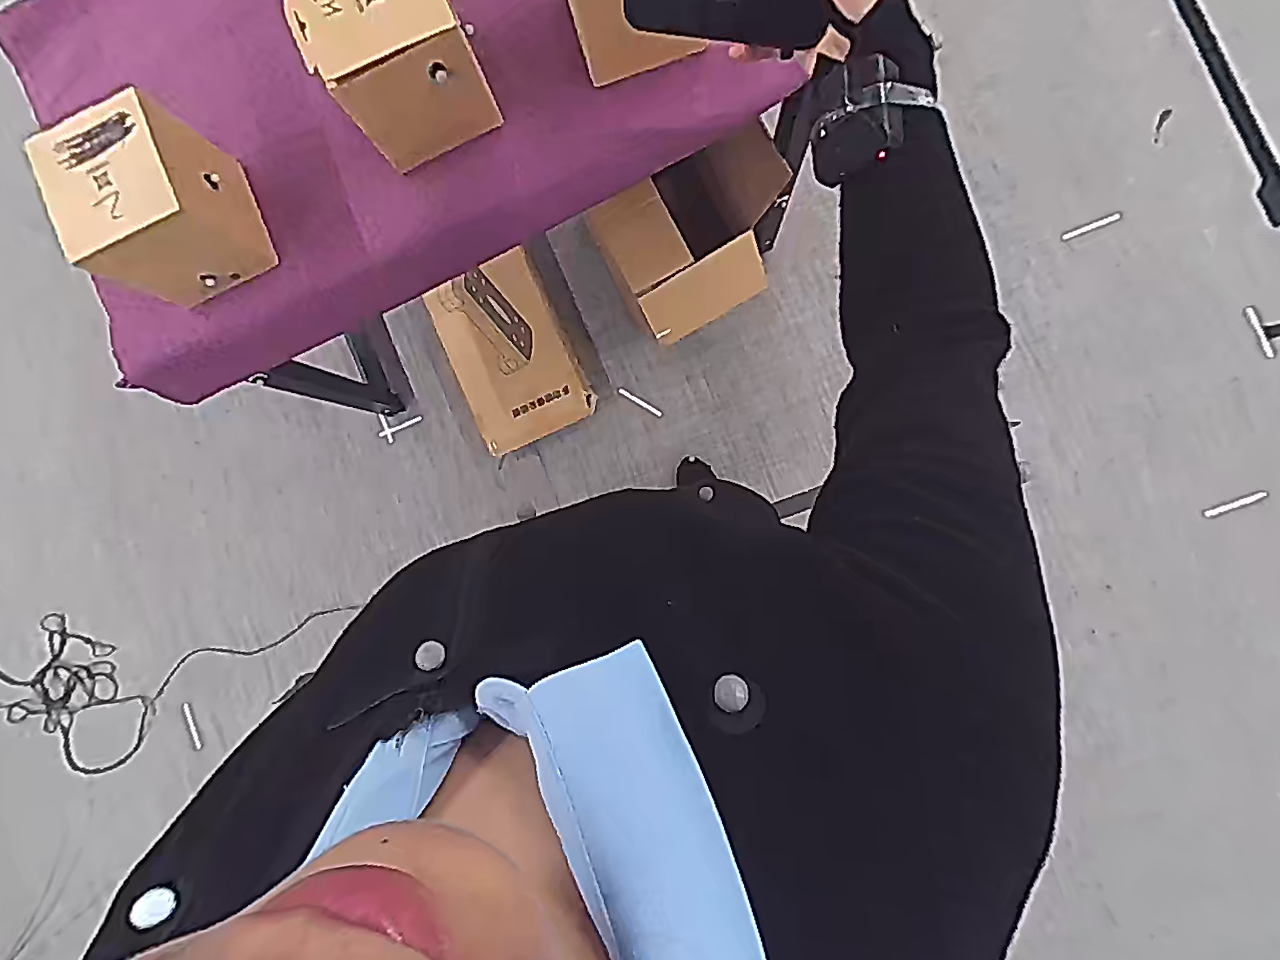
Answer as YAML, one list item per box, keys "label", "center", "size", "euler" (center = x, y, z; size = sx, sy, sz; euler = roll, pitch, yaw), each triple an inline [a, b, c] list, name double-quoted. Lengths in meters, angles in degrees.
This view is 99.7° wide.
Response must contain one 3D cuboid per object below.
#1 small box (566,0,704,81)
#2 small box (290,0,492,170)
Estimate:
- label: "small box"
  center: [-0.018, -0.671, 0.702]
  size: [0.179, 0.176, 0.168]
  euler: [-17, 88, 4]
- label: "small box"
  center: [-0.317, -0.565, 0.722]
  size: [0.179, 0.176, 0.168]
  euler: [-24, 85, 4]
